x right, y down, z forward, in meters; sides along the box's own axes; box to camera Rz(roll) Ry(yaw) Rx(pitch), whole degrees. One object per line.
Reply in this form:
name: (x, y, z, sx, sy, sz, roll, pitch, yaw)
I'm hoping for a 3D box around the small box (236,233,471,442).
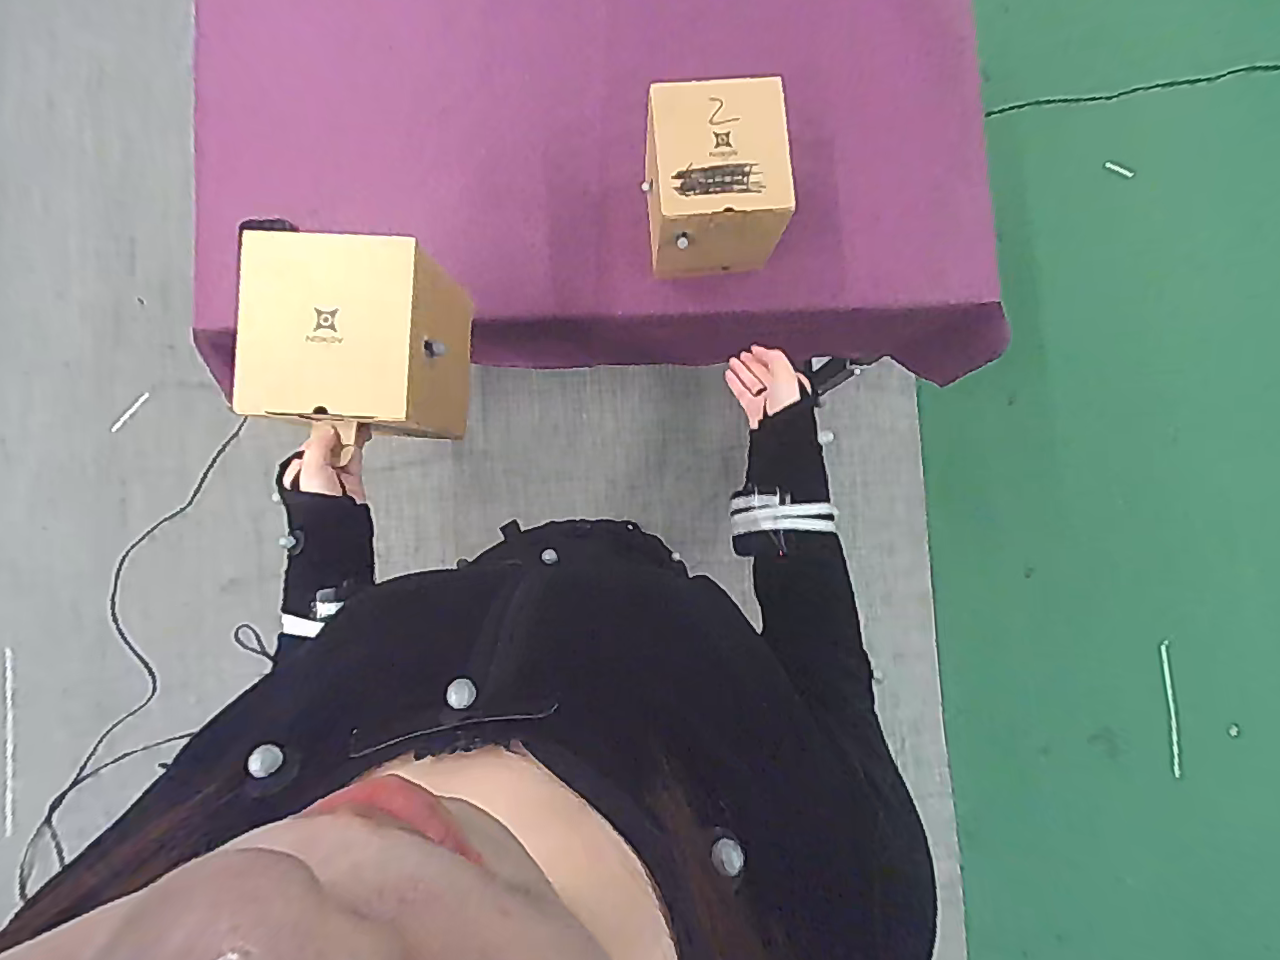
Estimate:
small box: (-0.291, -0.140, 0.587, 0.168, 0.176, 0.179, 3, 89, -1)
